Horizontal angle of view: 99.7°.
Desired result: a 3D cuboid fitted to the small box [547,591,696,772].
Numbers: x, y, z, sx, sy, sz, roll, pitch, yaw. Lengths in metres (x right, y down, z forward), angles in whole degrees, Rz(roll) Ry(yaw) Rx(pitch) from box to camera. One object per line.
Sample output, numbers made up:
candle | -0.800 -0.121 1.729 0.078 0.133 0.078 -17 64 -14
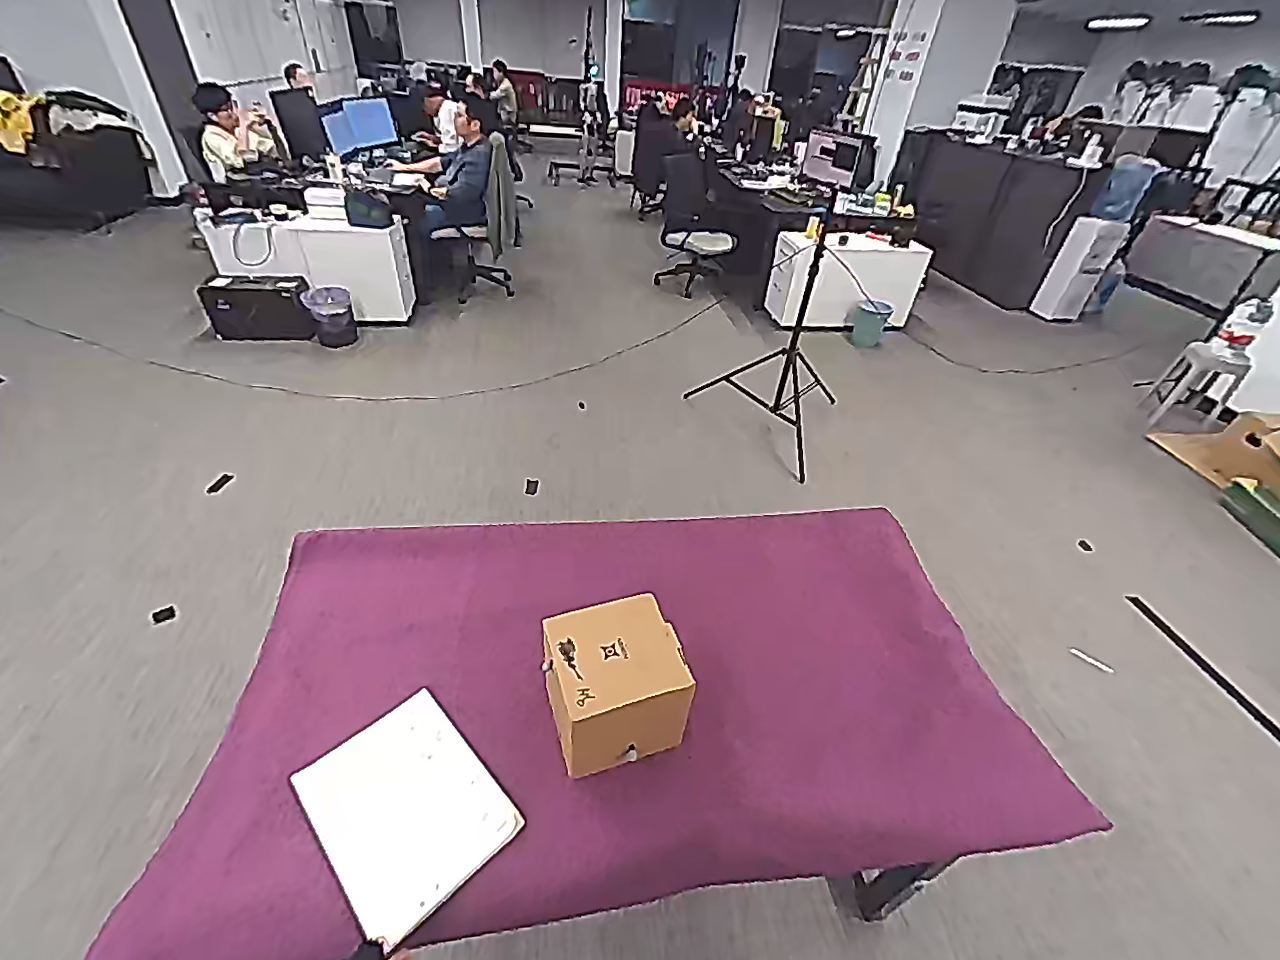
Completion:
small box | -0.037 0.296 0.805 0.179 0.176 0.168 -9 39 -19
